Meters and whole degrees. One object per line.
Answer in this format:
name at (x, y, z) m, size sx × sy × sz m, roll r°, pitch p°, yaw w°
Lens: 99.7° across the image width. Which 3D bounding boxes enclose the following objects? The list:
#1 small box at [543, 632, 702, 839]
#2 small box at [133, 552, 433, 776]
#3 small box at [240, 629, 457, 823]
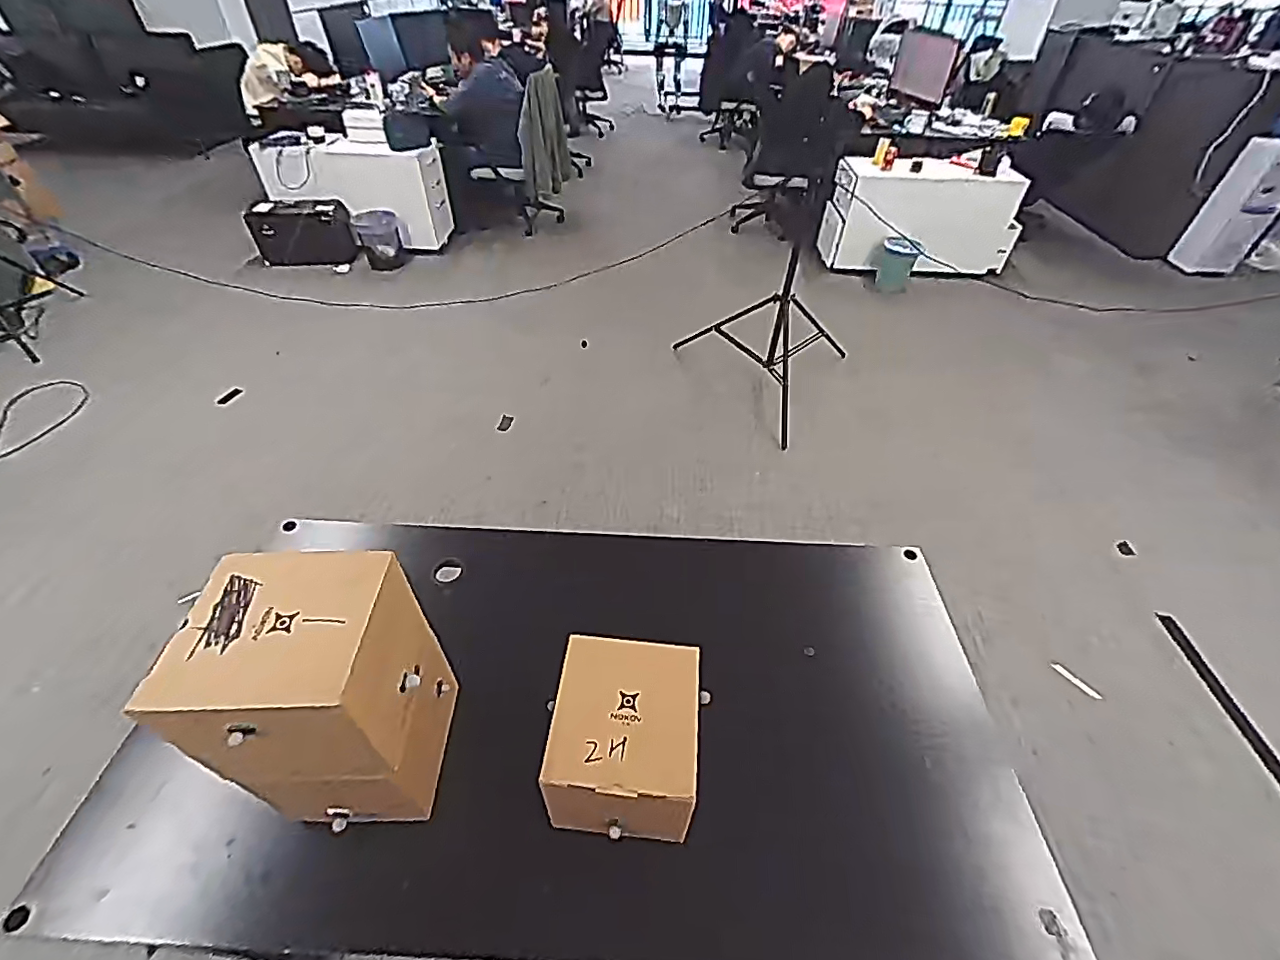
small box at (-0.016, 0.318, 0.676) m, size 0.168 × 0.176 × 0.179 m, roll 5°, pitch 44°, yaw 3°
small box at (-0.338, 0.192, 0.560) m, size 0.179 × 0.176 × 0.168 m, roll -1°, pitch 44°, yaw -3°
small box at (-0.340, 0.307, 0.678) m, size 0.168 × 0.176 × 0.179 m, roll -1°, pitch 45°, yaw -2°
